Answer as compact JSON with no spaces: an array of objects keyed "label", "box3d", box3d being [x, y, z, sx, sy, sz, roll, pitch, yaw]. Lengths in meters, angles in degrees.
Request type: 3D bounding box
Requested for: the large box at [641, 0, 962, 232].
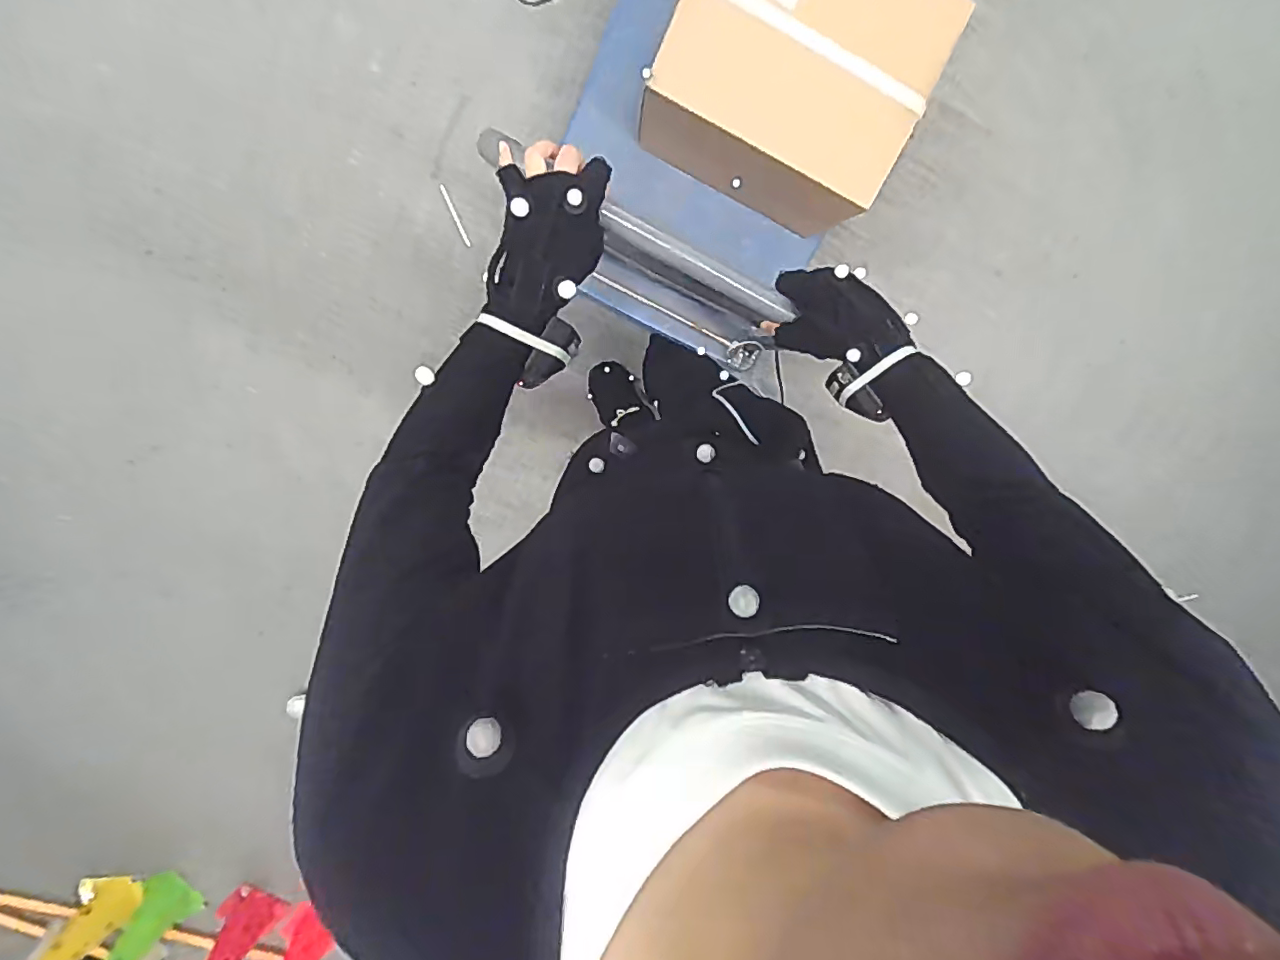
[{"label":"large box","box3d":[0.244,-0.697,0.965,0.408,0.320,0.320,24,104,-8]}]
